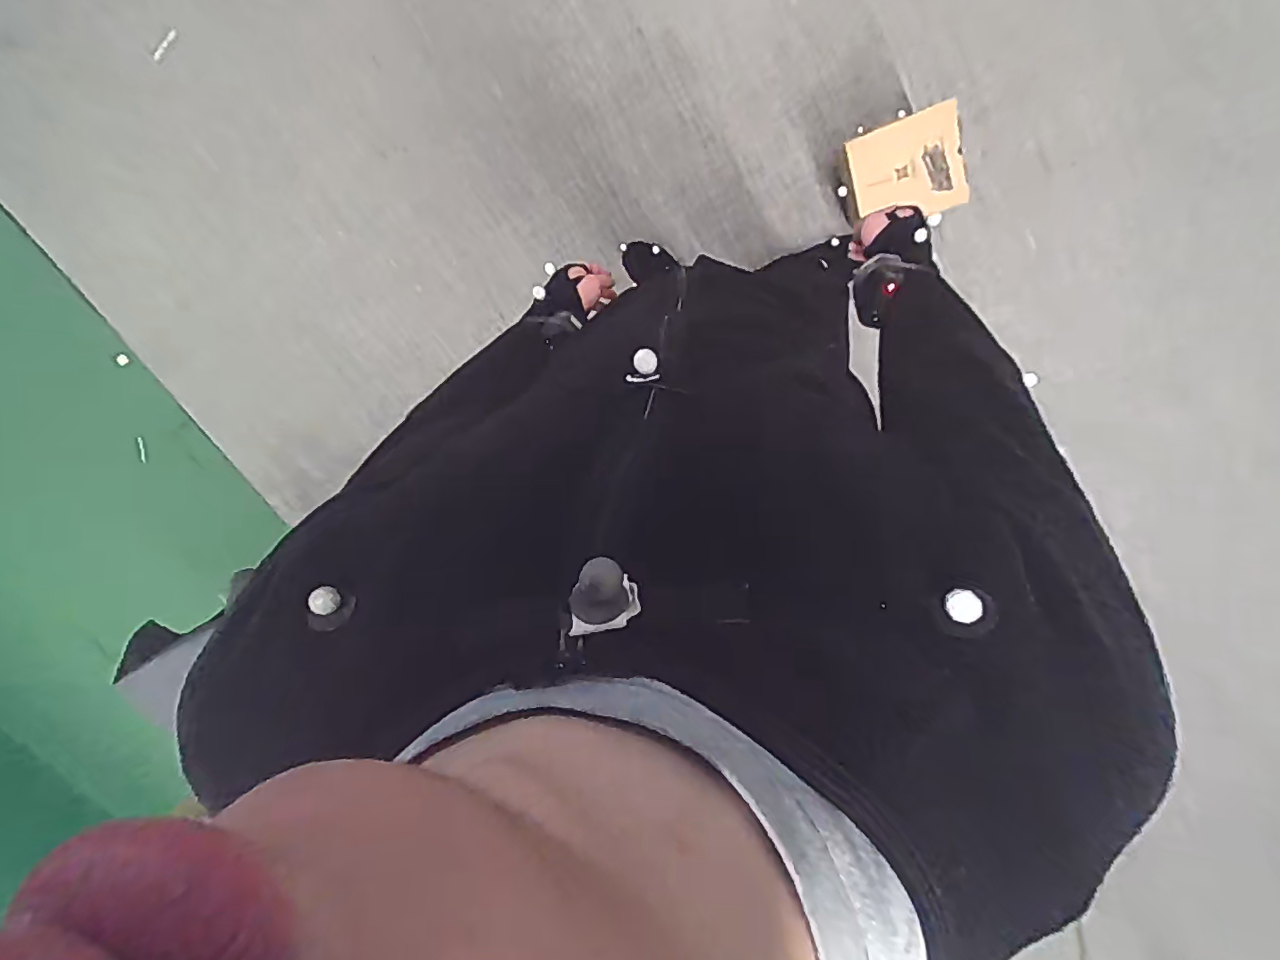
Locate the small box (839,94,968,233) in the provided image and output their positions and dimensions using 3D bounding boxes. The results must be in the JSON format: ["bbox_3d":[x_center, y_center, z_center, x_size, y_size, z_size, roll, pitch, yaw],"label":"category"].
[{"bbox_3d":[0.480,-0.578,1.001,0.179,0.176,0.168,-13,113,21],"label":"small box"}]
